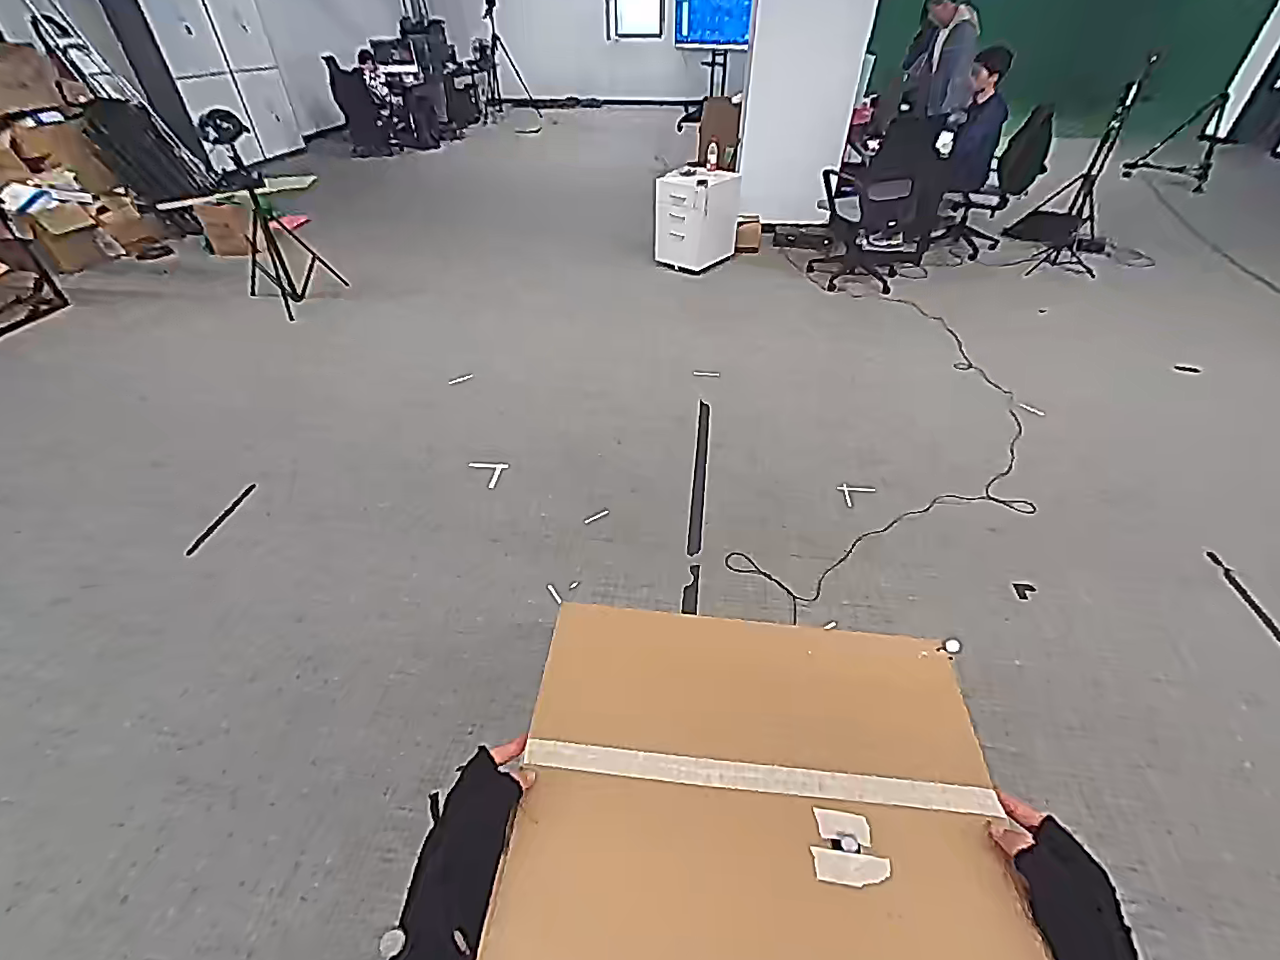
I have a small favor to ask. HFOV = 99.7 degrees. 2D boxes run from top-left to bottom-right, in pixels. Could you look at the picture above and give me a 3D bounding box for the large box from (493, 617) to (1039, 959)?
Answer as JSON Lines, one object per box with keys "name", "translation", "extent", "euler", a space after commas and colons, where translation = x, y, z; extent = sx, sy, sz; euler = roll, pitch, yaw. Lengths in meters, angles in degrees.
{"name": "large box", "translation": [0.096, 0.376, 0.572], "extent": [0.408, 0.320, 0.320], "euler": [5, 44, 3]}
